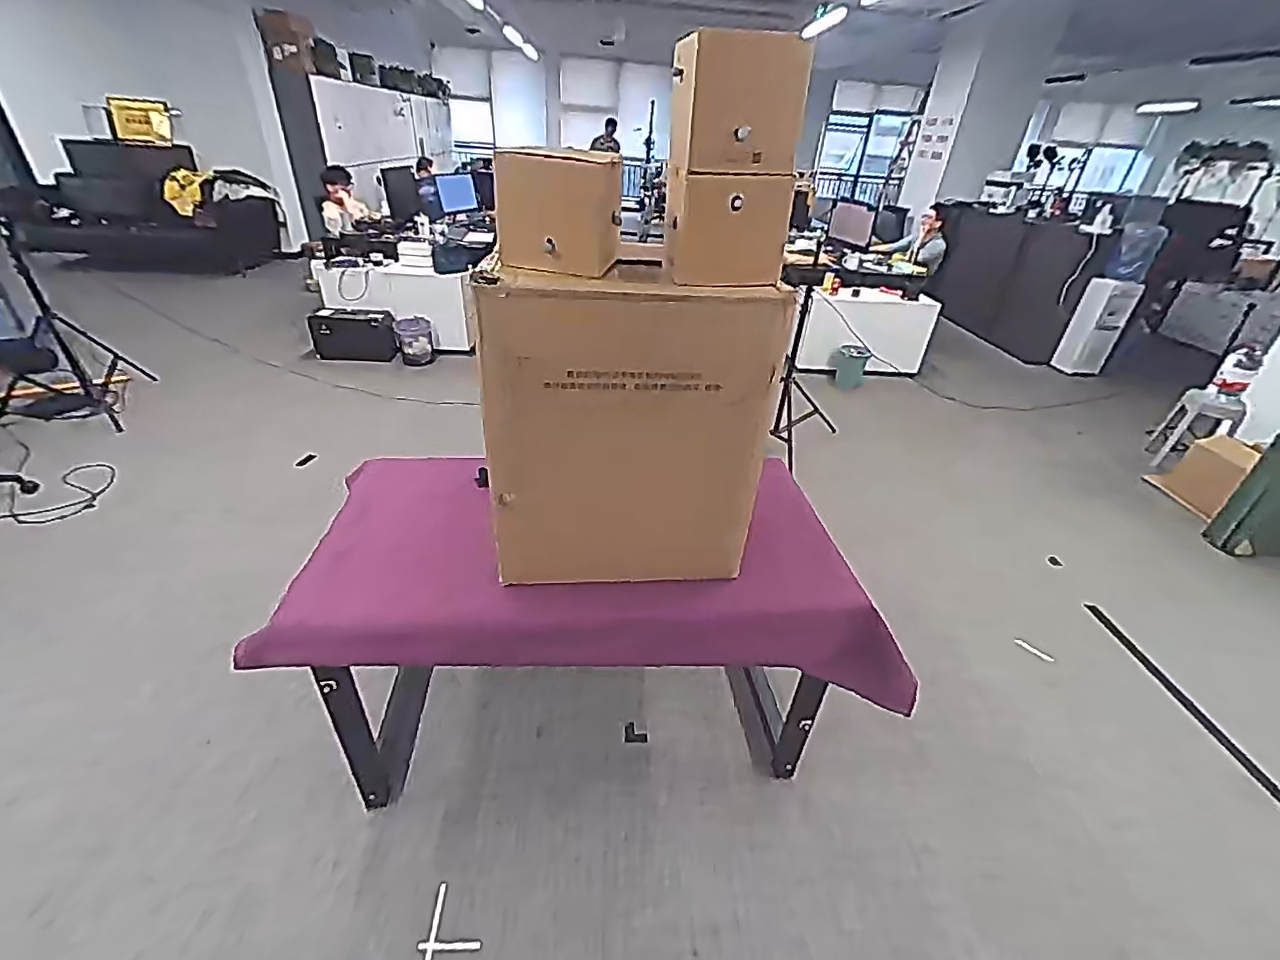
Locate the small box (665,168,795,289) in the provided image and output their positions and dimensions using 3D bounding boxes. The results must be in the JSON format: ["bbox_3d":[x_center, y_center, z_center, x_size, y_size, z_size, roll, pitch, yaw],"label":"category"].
[{"bbox_3d":[0.140,-0.428,0.918,0.179,0.176,0.168,-2,34,-8],"label":"small box"}]

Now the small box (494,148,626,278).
[{"bbox_3d":[-0.130,-0.450,0.914,0.179,0.176,0.168,9,34,5],"label":"small box"}]

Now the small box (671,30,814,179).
[{"bbox_3d":[0.143,-0.567,0.831,0.168,0.176,0.179,-3,34,-6],"label":"small box"}]
